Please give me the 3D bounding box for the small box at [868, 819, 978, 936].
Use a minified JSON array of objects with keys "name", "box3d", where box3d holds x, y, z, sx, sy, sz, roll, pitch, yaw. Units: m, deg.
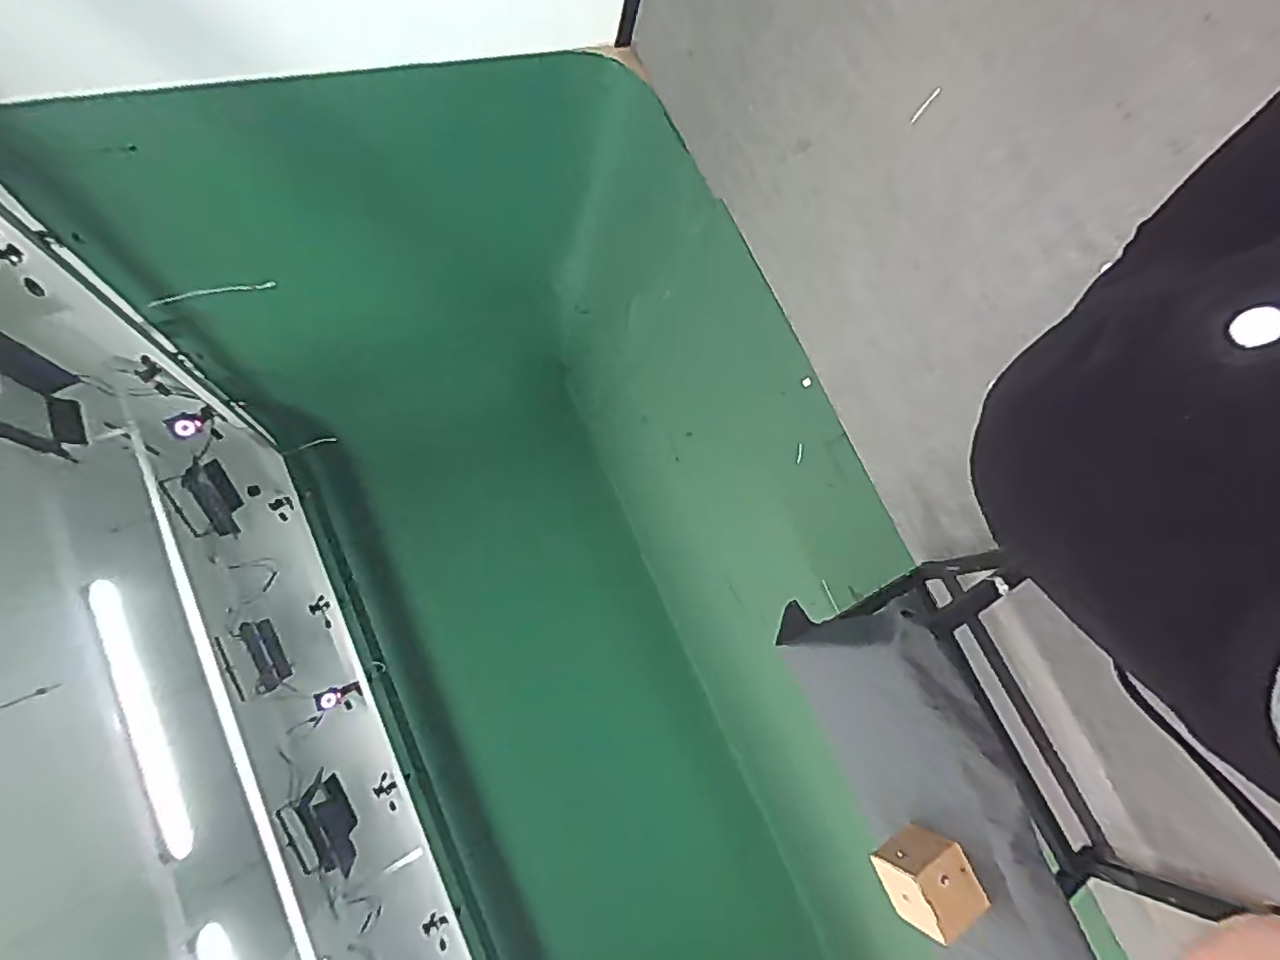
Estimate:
[{"name":"small box","box3d":[0.761,1.049,1.448,0.168,0.176,0.179,65,160,9]}]
